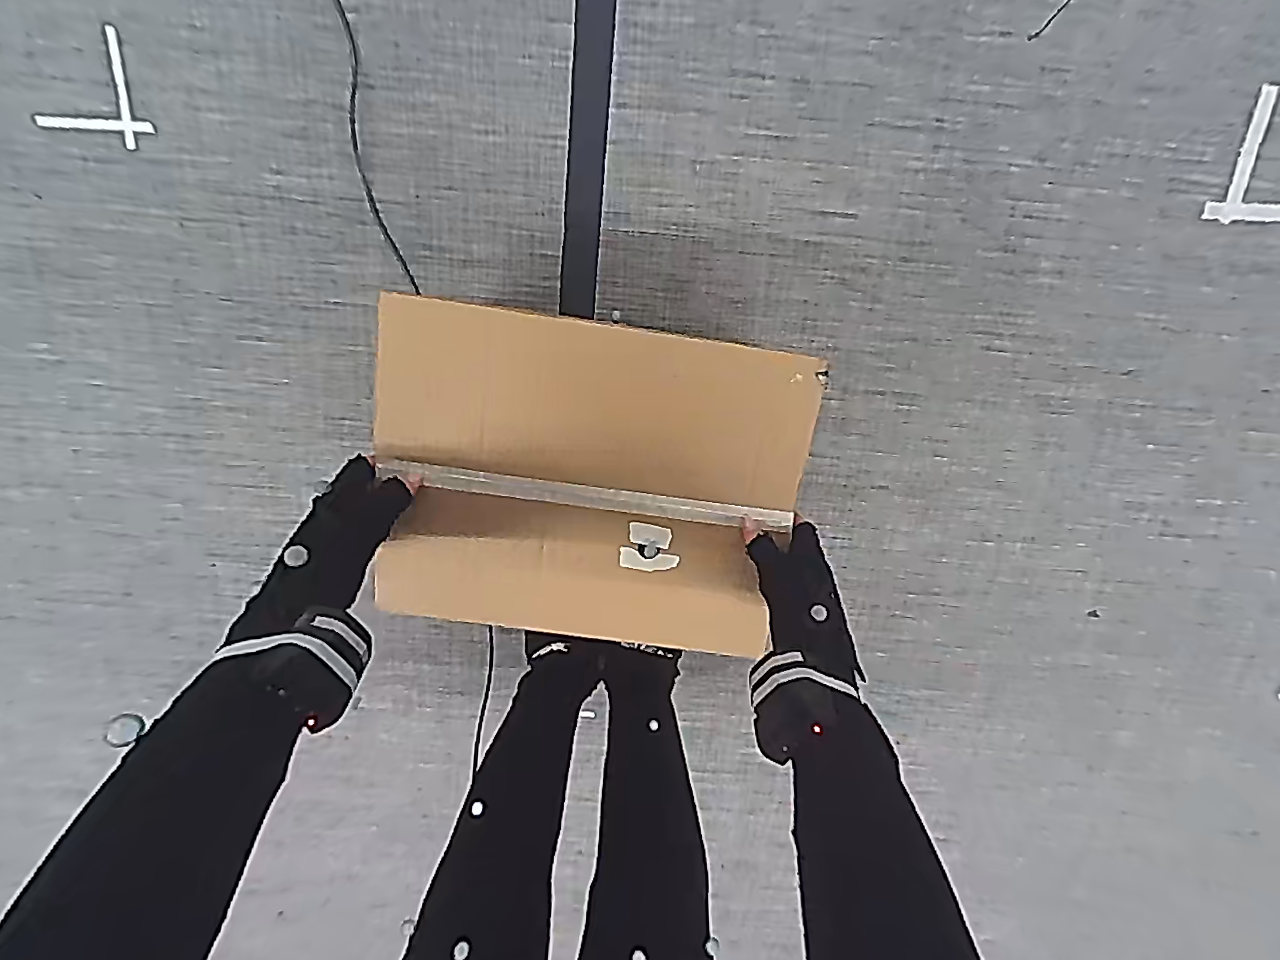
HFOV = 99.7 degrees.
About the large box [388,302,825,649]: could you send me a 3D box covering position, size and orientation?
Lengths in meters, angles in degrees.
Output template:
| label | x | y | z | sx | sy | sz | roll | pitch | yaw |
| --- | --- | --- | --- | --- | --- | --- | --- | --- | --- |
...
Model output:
| label | x | y | z | sx | sy | sz | roll | pitch | yaw |
| --- | --- | --- | --- | --- | --- | --- | --- | --- | --- |
| large box | -0.047 | -0.026 | 0.670 | 0.408 | 0.320 | 0.320 | 7 | 105 | -3 |
